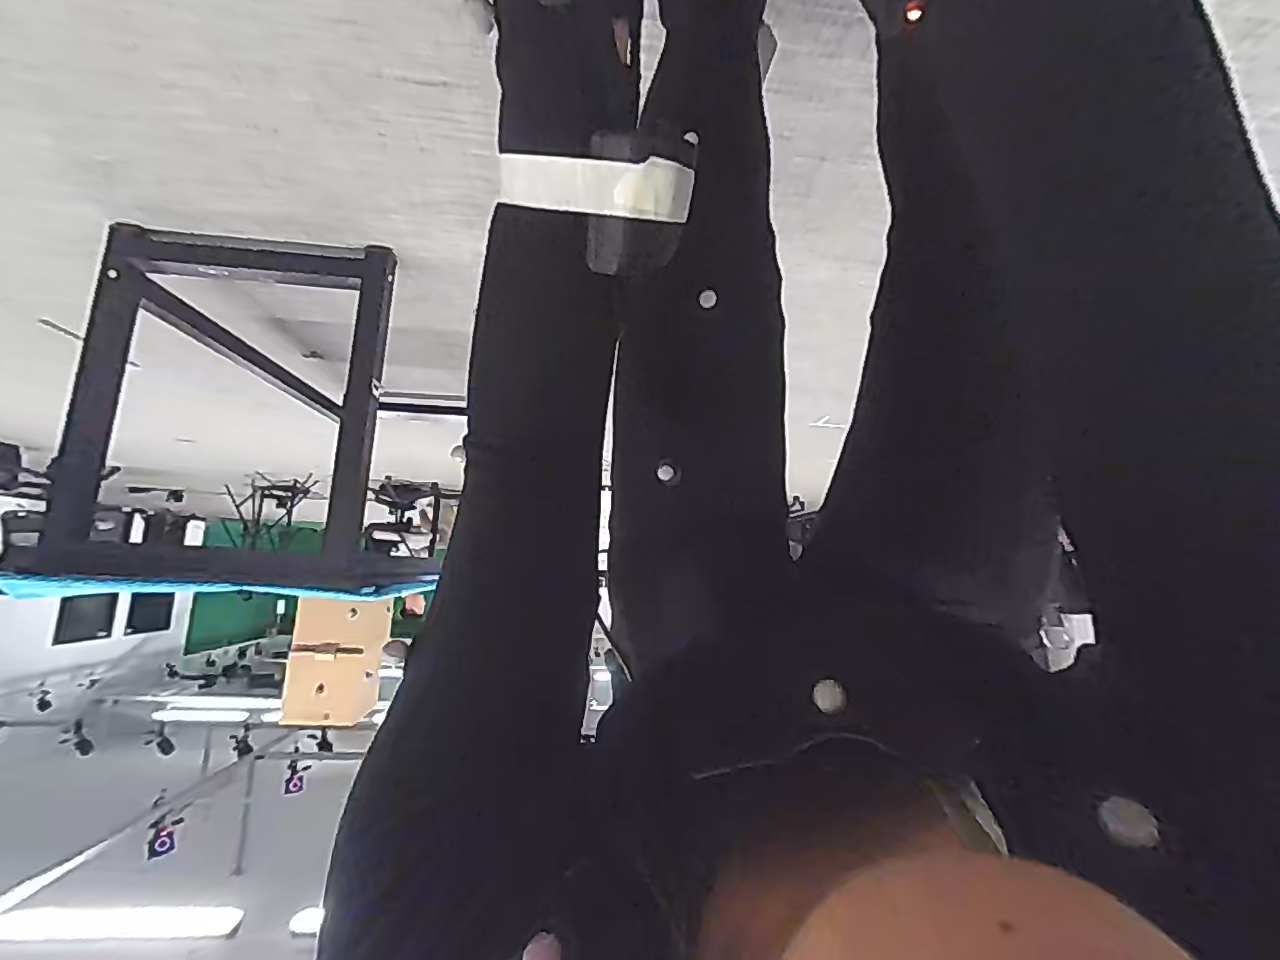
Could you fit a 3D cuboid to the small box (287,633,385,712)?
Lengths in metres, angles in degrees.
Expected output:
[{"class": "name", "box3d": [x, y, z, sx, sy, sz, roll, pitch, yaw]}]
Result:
[{"class": "small box", "box3d": [-0.767, 0.478, 1.373, 0.168, 0.176, 0.179, 5, 174, -7]}]

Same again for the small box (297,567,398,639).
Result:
[{"class": "small box", "box3d": [-0.754, 0.318, 1.404, 0.179, 0.176, 0.168, 4, 171, -6]}]
